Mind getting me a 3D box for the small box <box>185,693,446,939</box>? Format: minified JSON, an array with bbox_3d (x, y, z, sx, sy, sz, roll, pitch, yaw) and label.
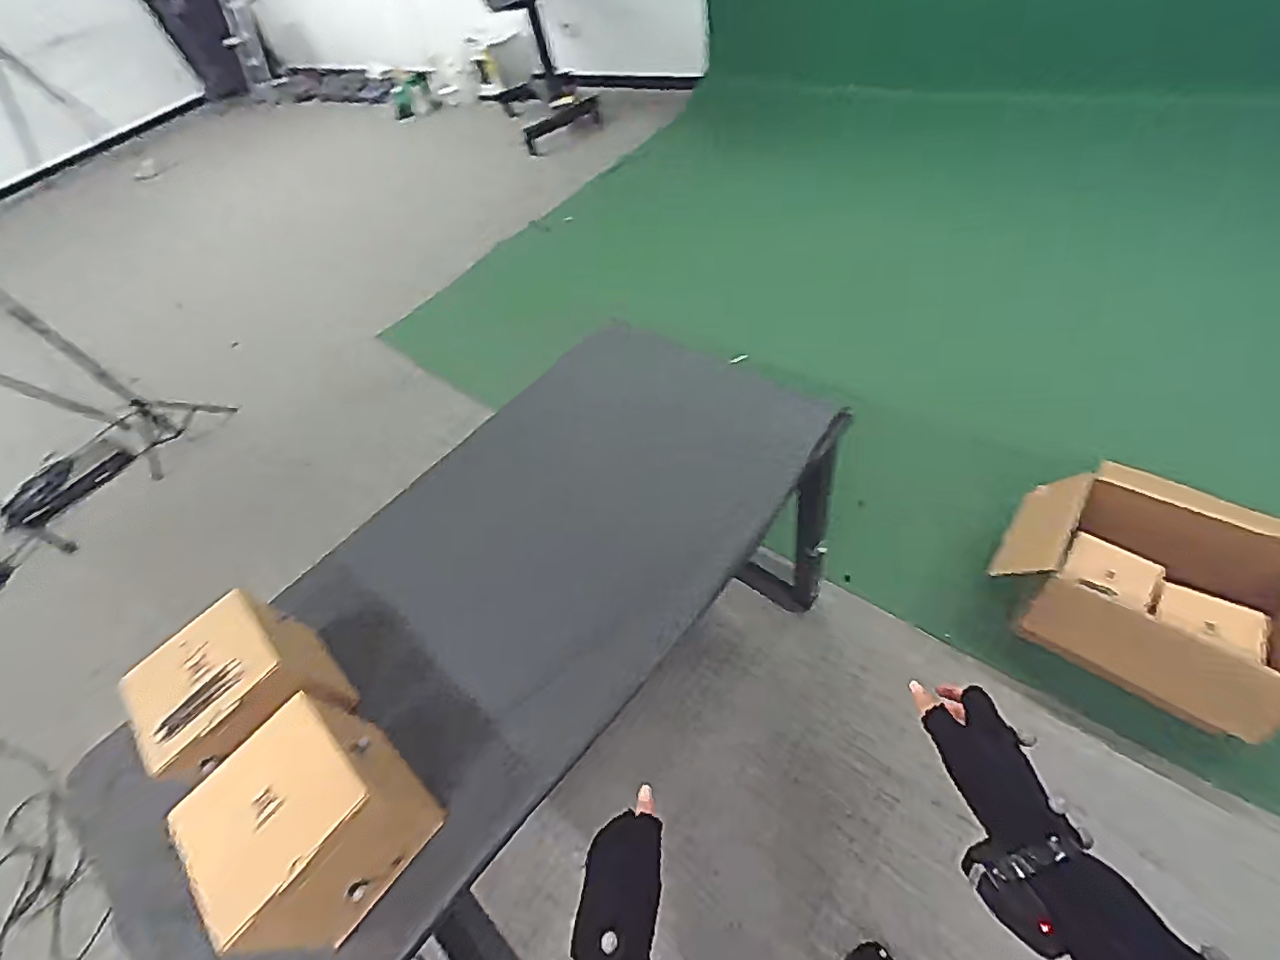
[{"bbox_3d":[-0.369,0.394,0.637,0.179,0.176,0.168,28,63,33],"label":"small box"}]
